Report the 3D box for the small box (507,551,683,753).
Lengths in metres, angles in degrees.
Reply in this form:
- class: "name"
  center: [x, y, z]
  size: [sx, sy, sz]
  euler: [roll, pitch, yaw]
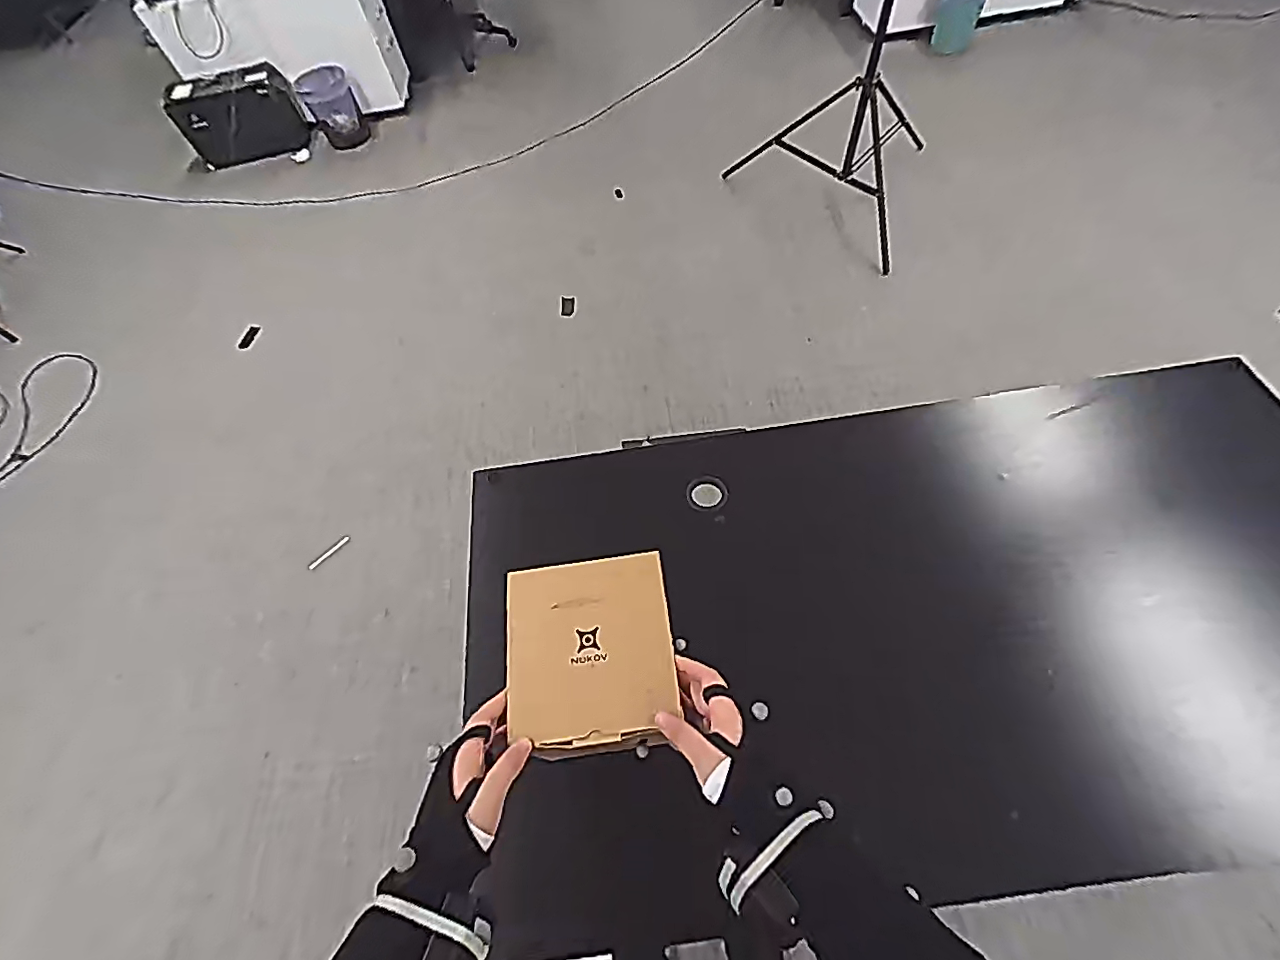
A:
- class: "small box"
  center: [-0.045, 0.201, 0.606]
  size: [0.168, 0.176, 0.179]
  euler: [-8, 59, 0]
